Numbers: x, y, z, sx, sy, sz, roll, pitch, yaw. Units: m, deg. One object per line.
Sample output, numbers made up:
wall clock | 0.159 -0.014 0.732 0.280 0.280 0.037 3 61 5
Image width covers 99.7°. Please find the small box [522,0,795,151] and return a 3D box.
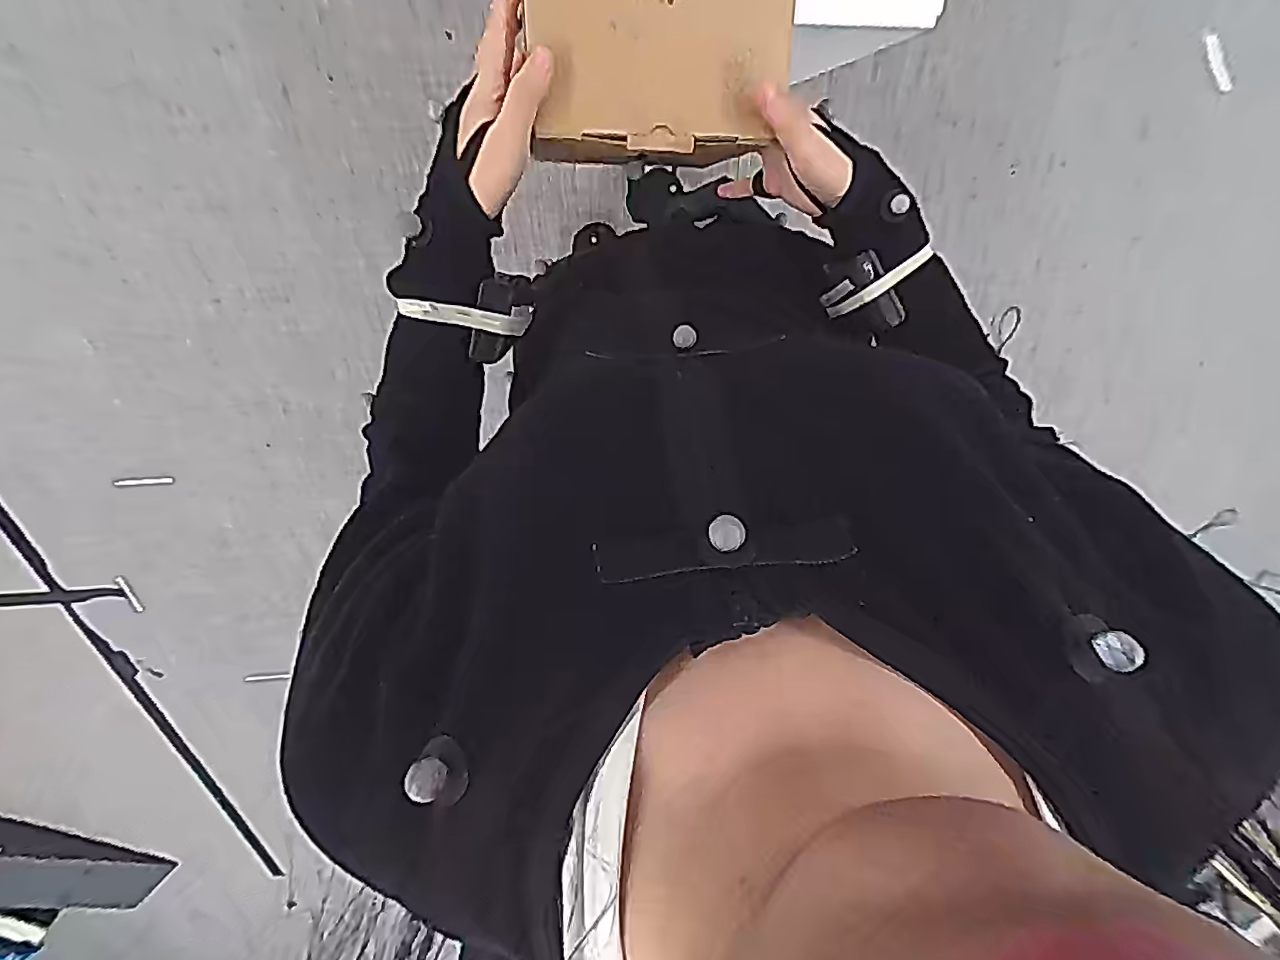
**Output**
small box | 0.001 -0.339 0.381 0.168 0.176 0.179 -5 118 -10
